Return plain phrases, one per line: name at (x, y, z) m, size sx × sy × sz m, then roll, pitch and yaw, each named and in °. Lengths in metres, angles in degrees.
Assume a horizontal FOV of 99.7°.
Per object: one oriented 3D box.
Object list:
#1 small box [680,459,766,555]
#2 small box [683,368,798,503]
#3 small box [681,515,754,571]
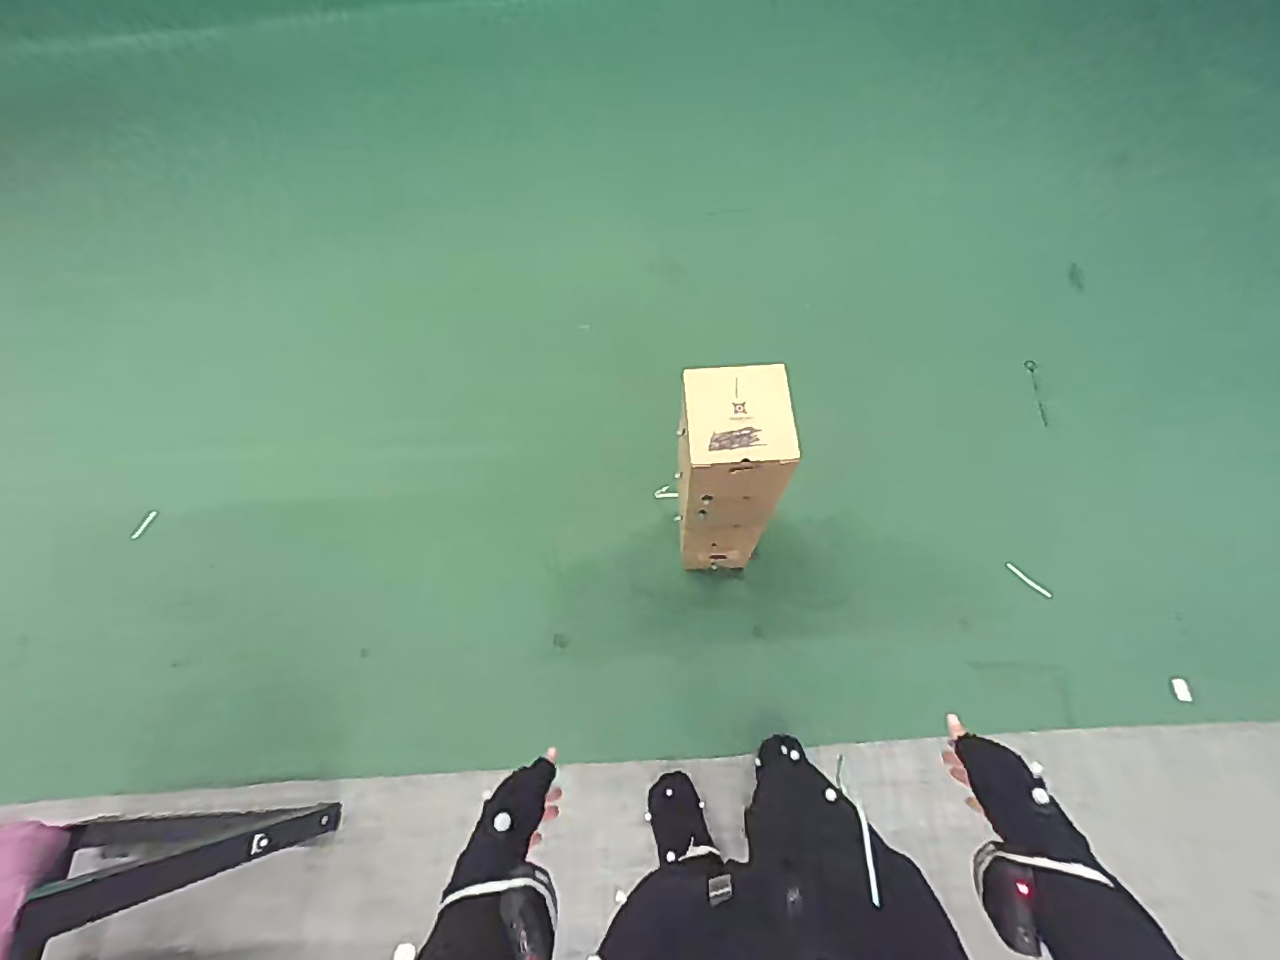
small box at (0.179, 0.061, 1.221) m, size 0.168 × 0.176 × 0.179 m, roll -4°, pitch 67°, yaw 2°
small box at (0.160, -0.066, 0.918) m, size 0.168 × 0.176 × 0.179 m, roll -3°, pitch 66°, yaw 1°
small box at (0.189, 0.125, 1.370) m, size 0.168 × 0.176 × 0.179 m, roll -3°, pitch 67°, yaw 3°
